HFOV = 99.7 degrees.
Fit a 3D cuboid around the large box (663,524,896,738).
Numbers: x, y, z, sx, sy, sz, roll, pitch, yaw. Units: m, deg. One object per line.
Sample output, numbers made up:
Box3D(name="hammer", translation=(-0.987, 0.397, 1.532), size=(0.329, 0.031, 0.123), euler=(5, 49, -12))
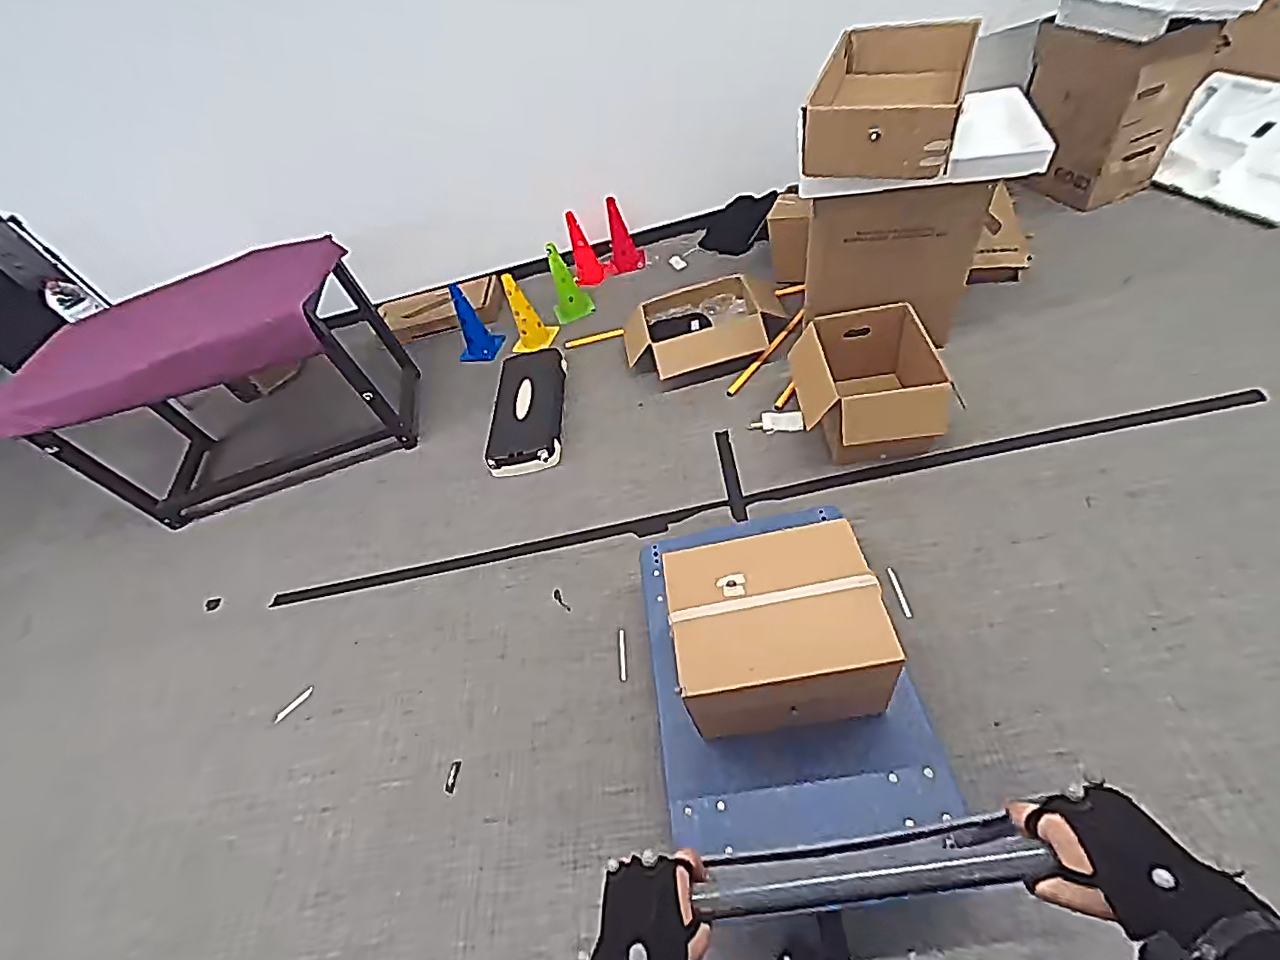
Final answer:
Box3D(name="large box", translation=(0.292, 0.344, 1.200), size=(0.408, 0.320, 0.320), euler=(-13, 48, 7))
